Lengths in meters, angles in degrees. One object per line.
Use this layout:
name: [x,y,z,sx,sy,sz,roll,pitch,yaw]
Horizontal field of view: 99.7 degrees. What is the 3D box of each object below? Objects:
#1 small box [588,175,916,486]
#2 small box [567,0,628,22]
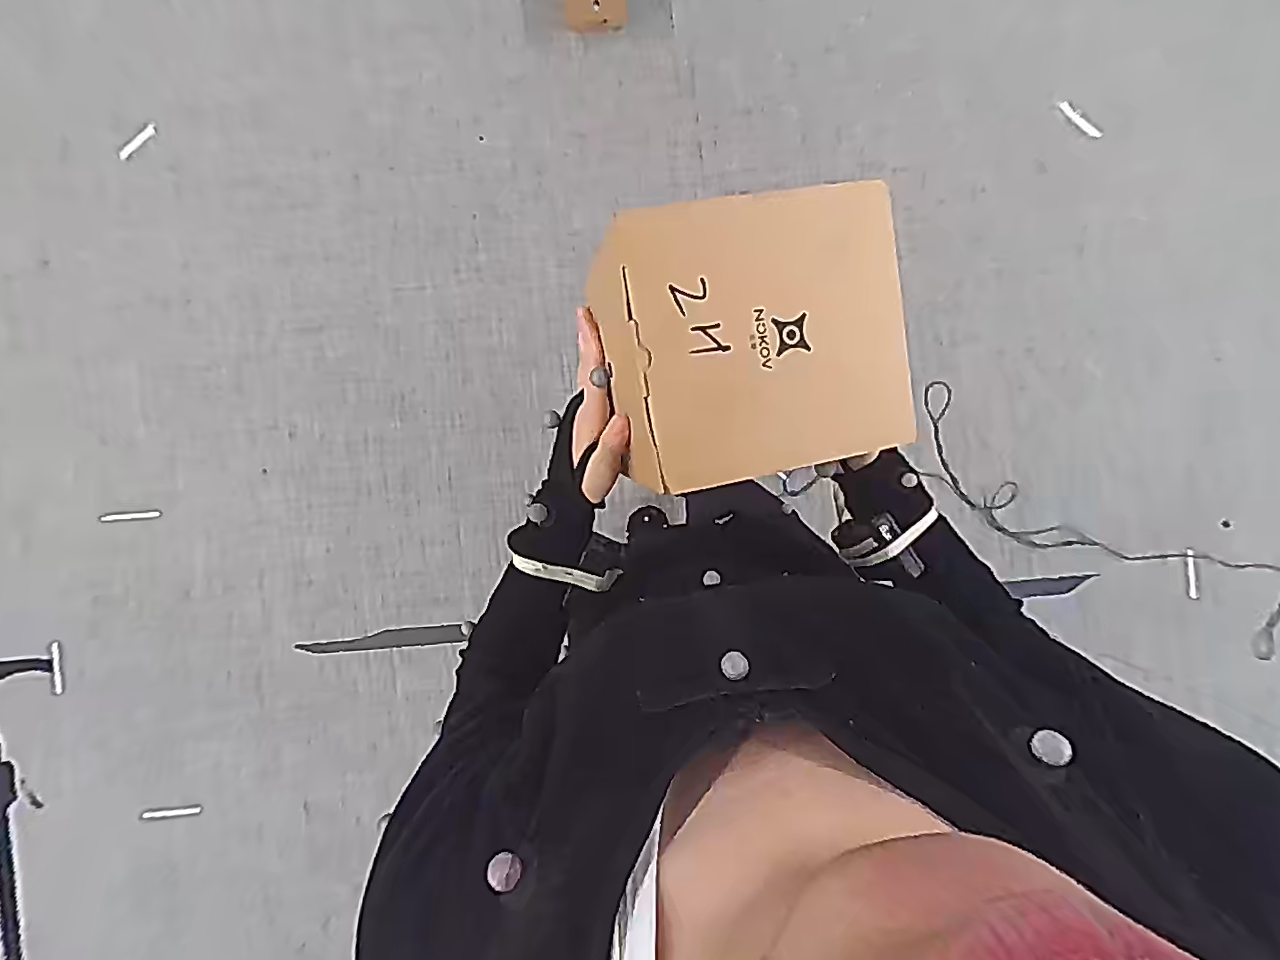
small box: [0.068,-0.100,0.403,0.179,0.176,0.168,-12,98,-10]
small box: [-0.116,-1.346,1.413,0.168,0.176,0.179,-3,91,-2]
